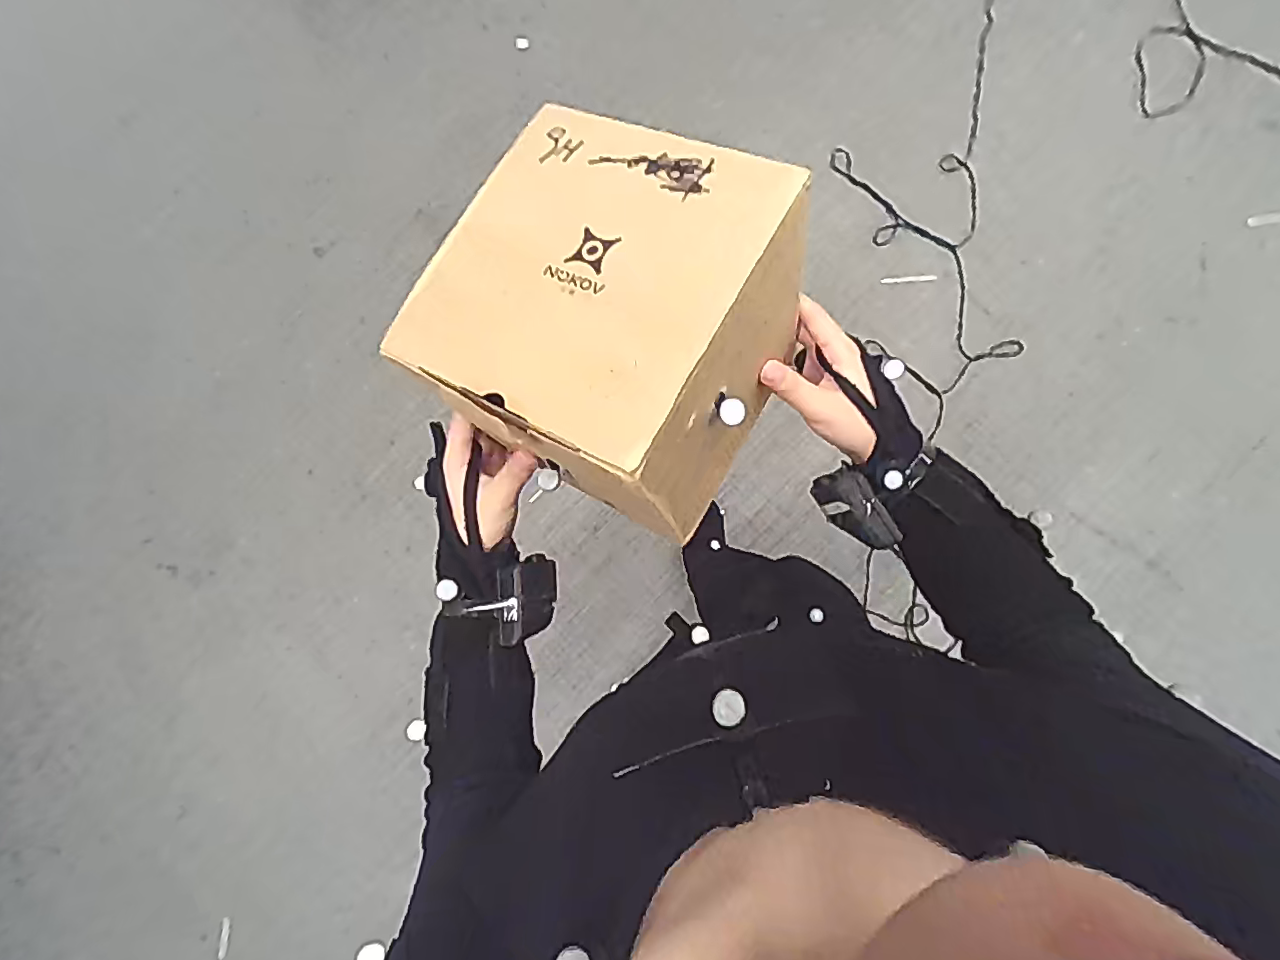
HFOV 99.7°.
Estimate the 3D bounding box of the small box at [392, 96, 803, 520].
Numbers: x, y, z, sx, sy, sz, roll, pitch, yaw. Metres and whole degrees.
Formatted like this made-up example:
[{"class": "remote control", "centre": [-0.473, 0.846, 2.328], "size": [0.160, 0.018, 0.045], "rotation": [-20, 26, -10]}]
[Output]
[{"class": "small box", "centre": [-0.009, -0.094, 0.352], "size": [0.168, 0.176, 0.179], "rotation": [28, 82, 20]}]
